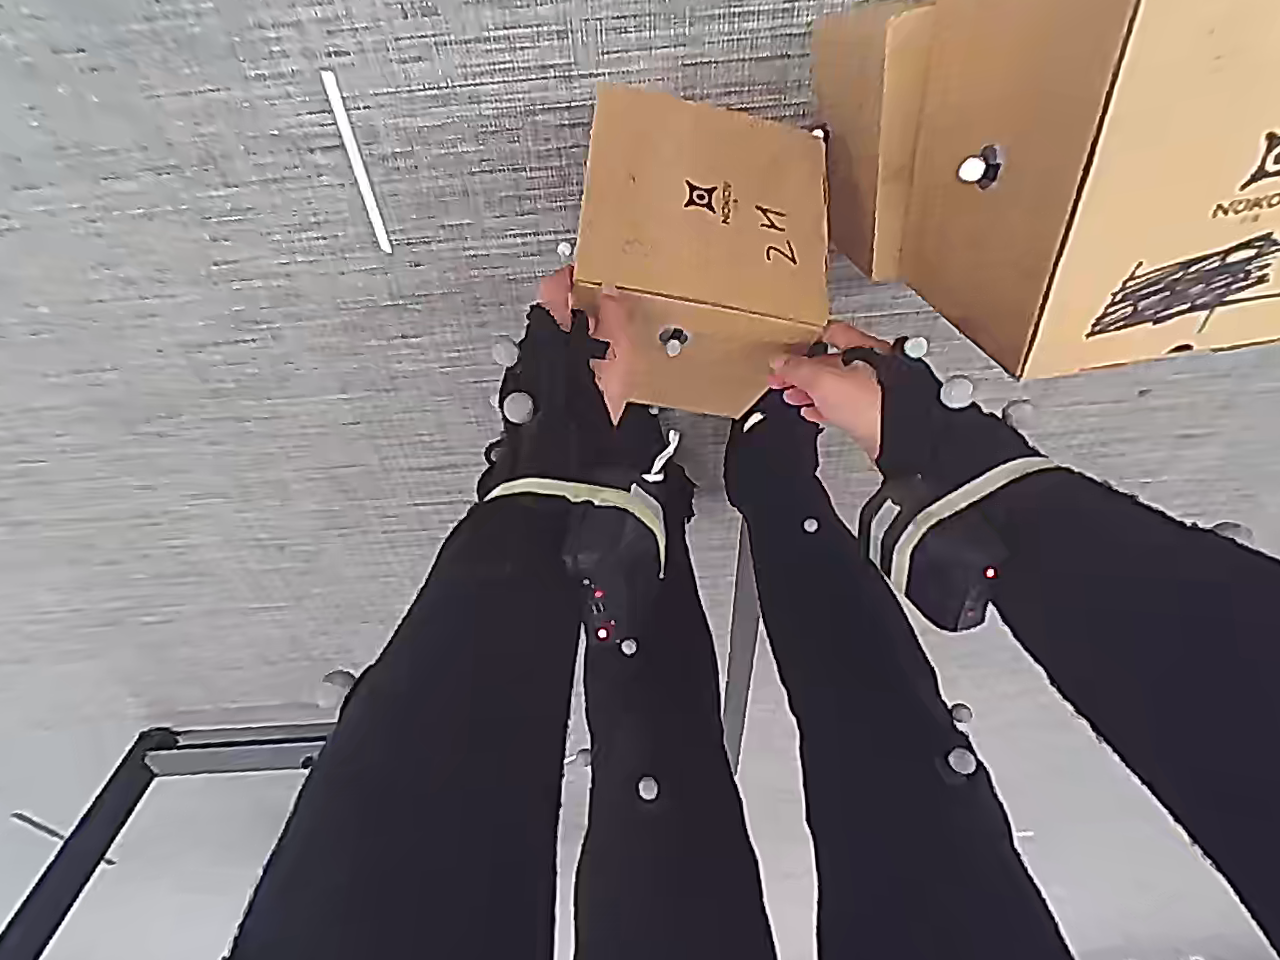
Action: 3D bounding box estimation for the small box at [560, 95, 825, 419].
[{"bbox_3d":[0.031,-0.164,0.450,0.179,0.168,0.176,8,162,-10],"label":"small box"}]

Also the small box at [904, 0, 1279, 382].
[{"bbox_3d":[0.269,-0.180,0.302,0.168,0.176,0.179,-8,128,4],"label":"small box"}]
